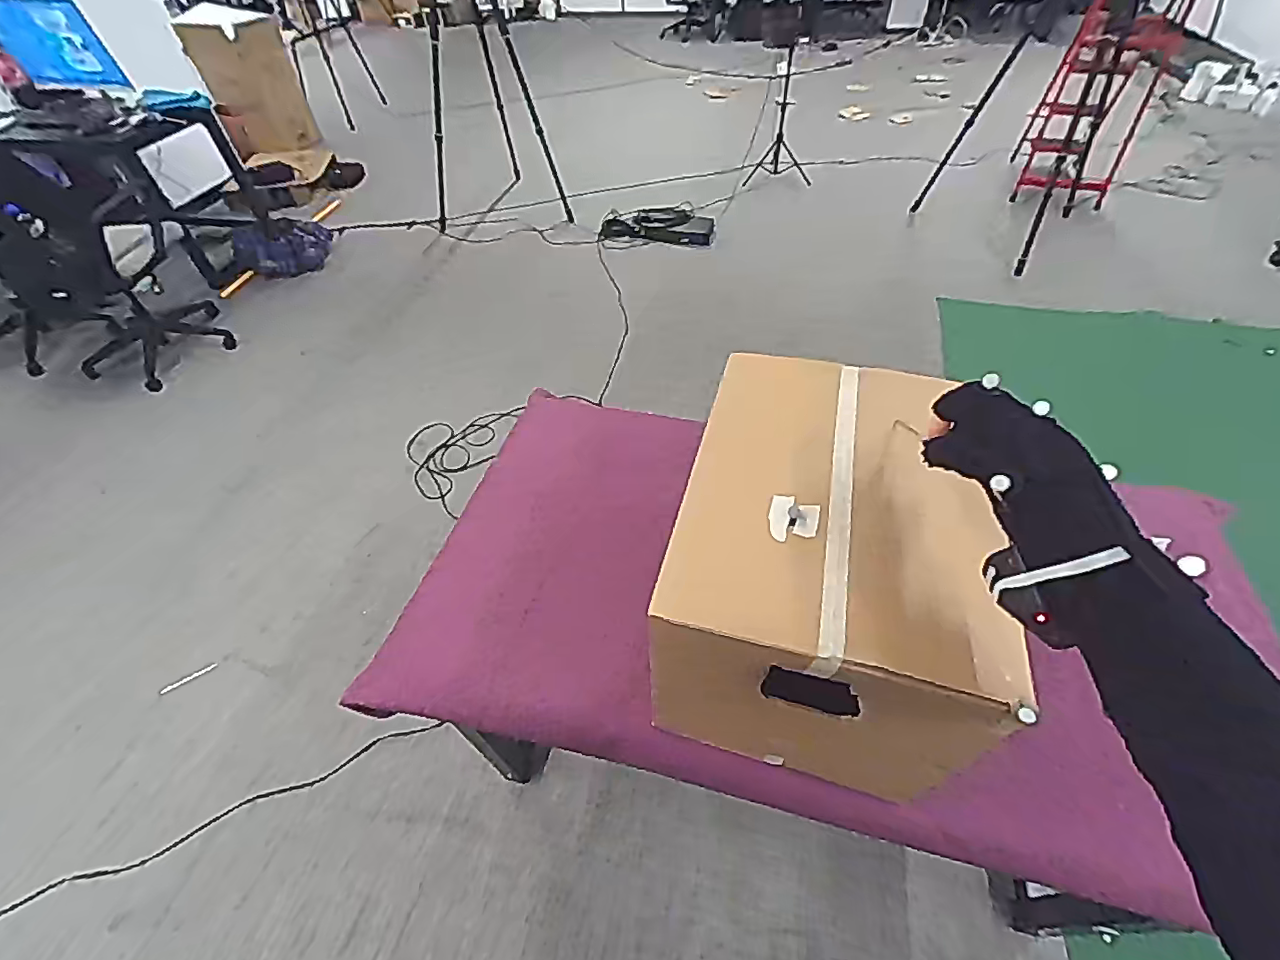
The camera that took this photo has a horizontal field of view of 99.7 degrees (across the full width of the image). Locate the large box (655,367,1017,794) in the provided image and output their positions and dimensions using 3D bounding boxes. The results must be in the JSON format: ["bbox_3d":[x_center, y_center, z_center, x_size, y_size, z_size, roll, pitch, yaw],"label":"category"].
[{"bbox_3d":[0.215,0.115,0.699,0.320,0.320,0.408,11,51,13],"label":"large box"}]
